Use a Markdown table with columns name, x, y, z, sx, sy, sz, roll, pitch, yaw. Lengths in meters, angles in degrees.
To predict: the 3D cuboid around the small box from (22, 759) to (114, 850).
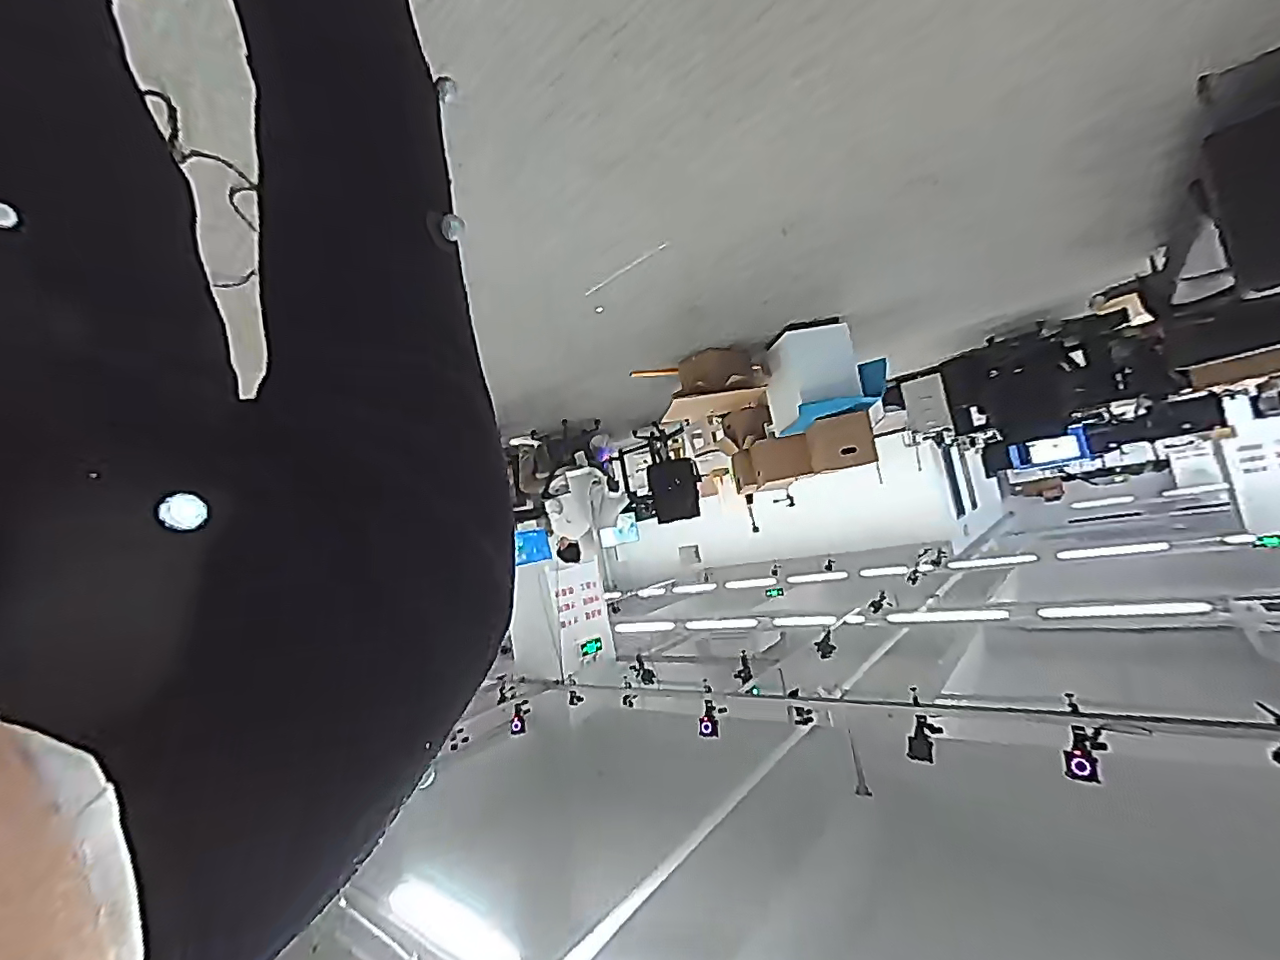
| name | x | y | z | sx | sy | sz | roll | pitch | yaw |
| --- | --- | --- | --- | --- | --- | --- | --- | --- | --- |
| small box | -1.704 | 0.952 | 1.610 | 0.179 | 0.176 | 0.168 | -13 | 176 | 37 |
